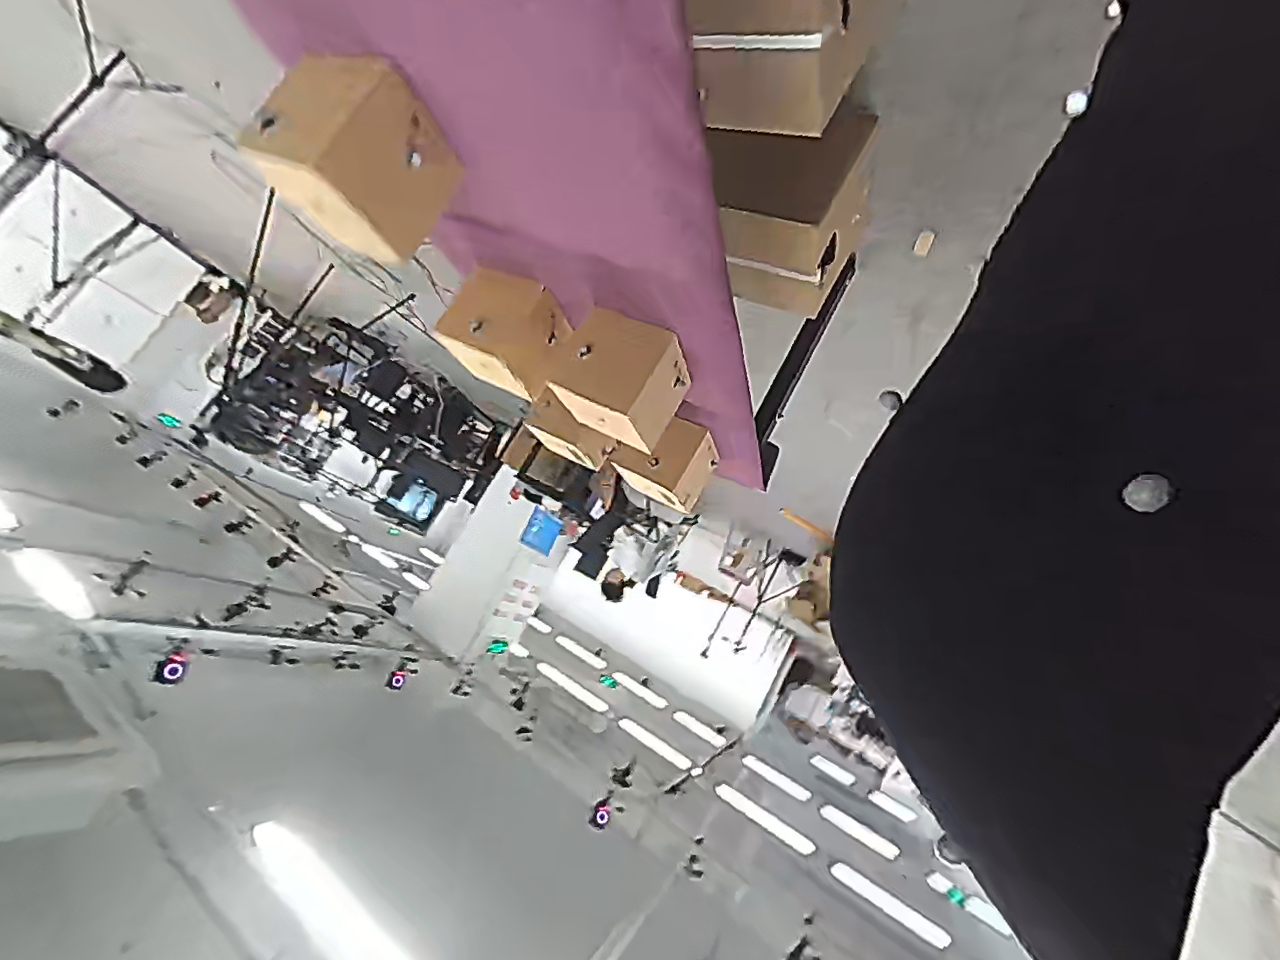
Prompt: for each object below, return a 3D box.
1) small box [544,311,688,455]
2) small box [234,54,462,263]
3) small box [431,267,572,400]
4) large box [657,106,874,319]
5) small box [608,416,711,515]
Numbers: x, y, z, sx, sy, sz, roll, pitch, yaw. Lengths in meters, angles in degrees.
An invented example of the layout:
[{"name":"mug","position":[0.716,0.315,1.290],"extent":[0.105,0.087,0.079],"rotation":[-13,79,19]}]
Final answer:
[{"name":"small box","position":[-0.036,-0.178,0.979],"extent":[0.179,0.176,0.168],"rotation":[27,169,22]},{"name":"small box","position":[-0.383,-0.436,0.735],"extent":[0.179,0.176,0.168],"rotation":[25,169,22]},{"name":"small box","position":[-0.266,-0.294,1.075],"extent":[0.179,0.176,0.168],"rotation":[25,167,22]},{"name":"large box","position":[0.318,-0.667,1.353],"extent":[0.408,0.320,0.320],"rotation":[27,167,24]},{"name":"small box","position":[0.058,-0.046,1.303],"extent":[0.179,0.176,0.168],"rotation":[27,168,25]}]
